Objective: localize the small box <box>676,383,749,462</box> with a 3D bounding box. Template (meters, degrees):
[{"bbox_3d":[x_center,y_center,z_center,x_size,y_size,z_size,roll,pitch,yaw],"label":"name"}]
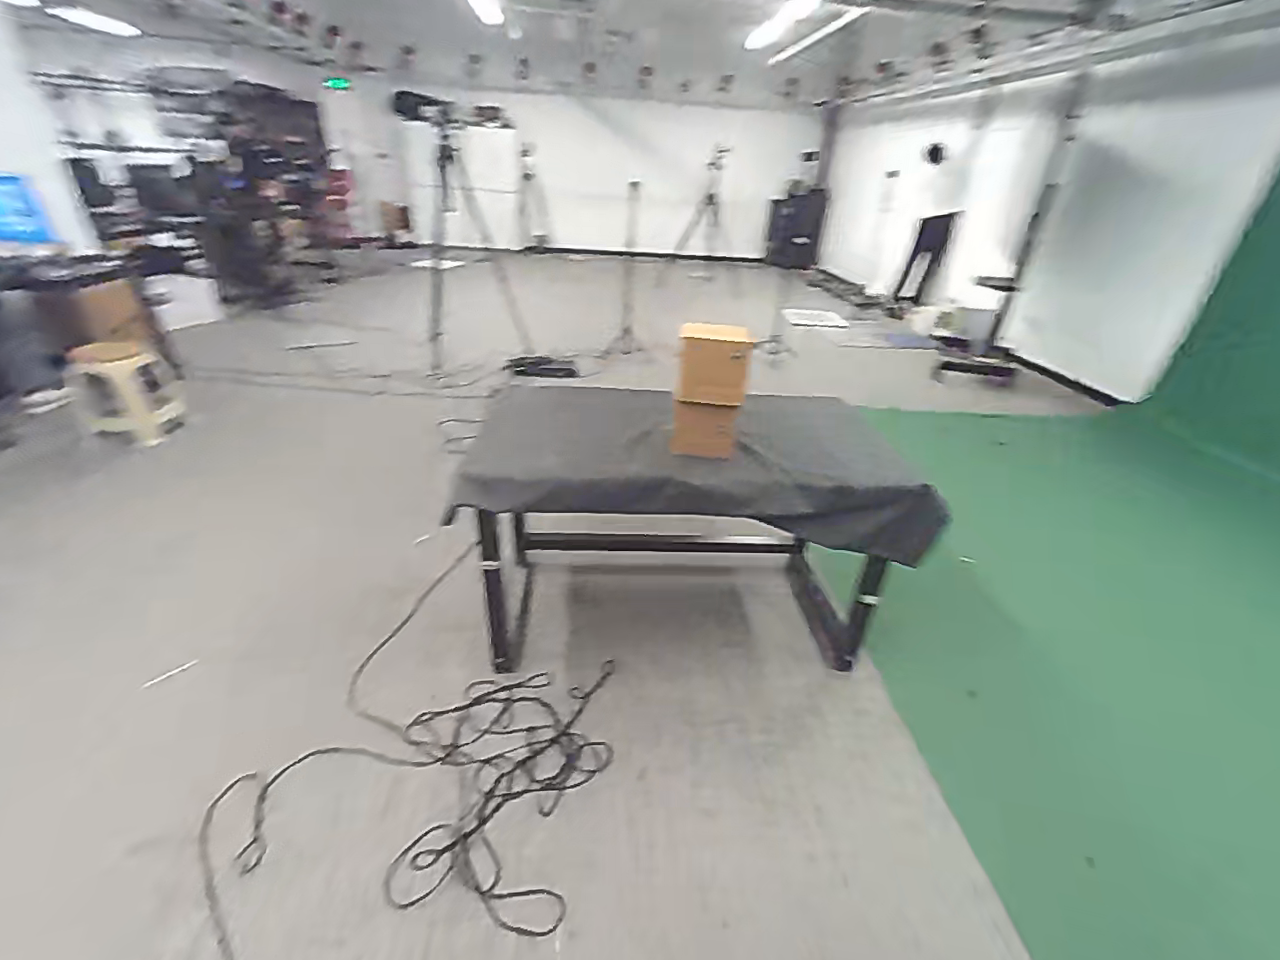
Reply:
[{"bbox_3d":[0.197,-0.161,1.510,0.179,0.176,0.168,5,28,3],"label":"small box"}]

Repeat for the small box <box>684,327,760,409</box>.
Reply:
[{"bbox_3d":[0.208,-0.293,1.413,0.179,0.176,0.168,6,28,4],"label":"small box"}]
